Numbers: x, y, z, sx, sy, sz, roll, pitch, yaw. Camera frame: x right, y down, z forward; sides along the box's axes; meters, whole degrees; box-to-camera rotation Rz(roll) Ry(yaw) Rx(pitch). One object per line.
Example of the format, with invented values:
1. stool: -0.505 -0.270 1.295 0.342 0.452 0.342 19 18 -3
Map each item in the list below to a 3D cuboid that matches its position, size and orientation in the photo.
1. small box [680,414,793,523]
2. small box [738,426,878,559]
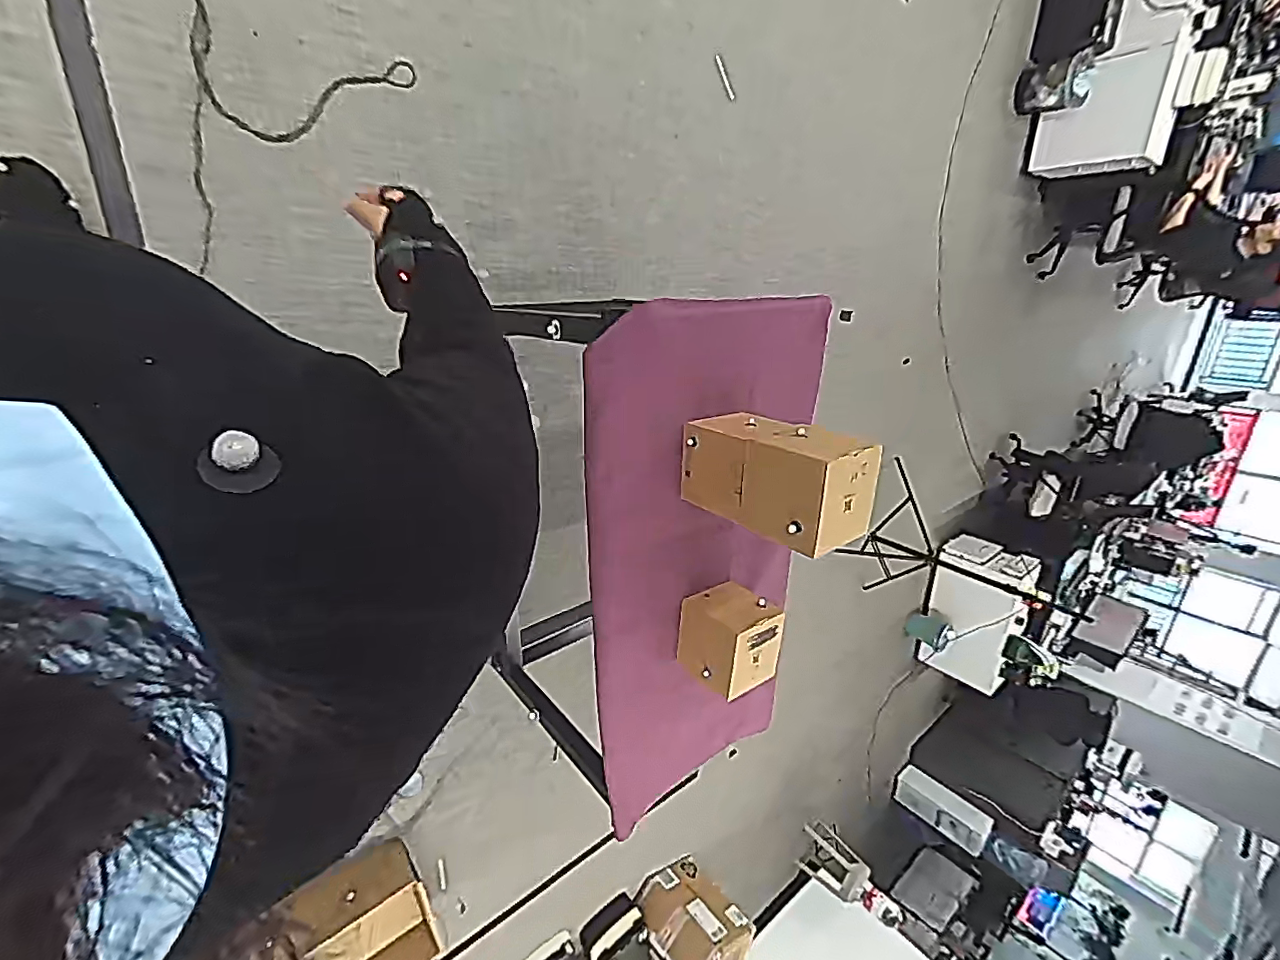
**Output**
1. small box: 0.199 -0.032 1.101 0.179 0.176 0.168 -14 115 -37
2. small box: 0.295 0.013 0.974 0.168 0.176 0.179 -15 116 -36
